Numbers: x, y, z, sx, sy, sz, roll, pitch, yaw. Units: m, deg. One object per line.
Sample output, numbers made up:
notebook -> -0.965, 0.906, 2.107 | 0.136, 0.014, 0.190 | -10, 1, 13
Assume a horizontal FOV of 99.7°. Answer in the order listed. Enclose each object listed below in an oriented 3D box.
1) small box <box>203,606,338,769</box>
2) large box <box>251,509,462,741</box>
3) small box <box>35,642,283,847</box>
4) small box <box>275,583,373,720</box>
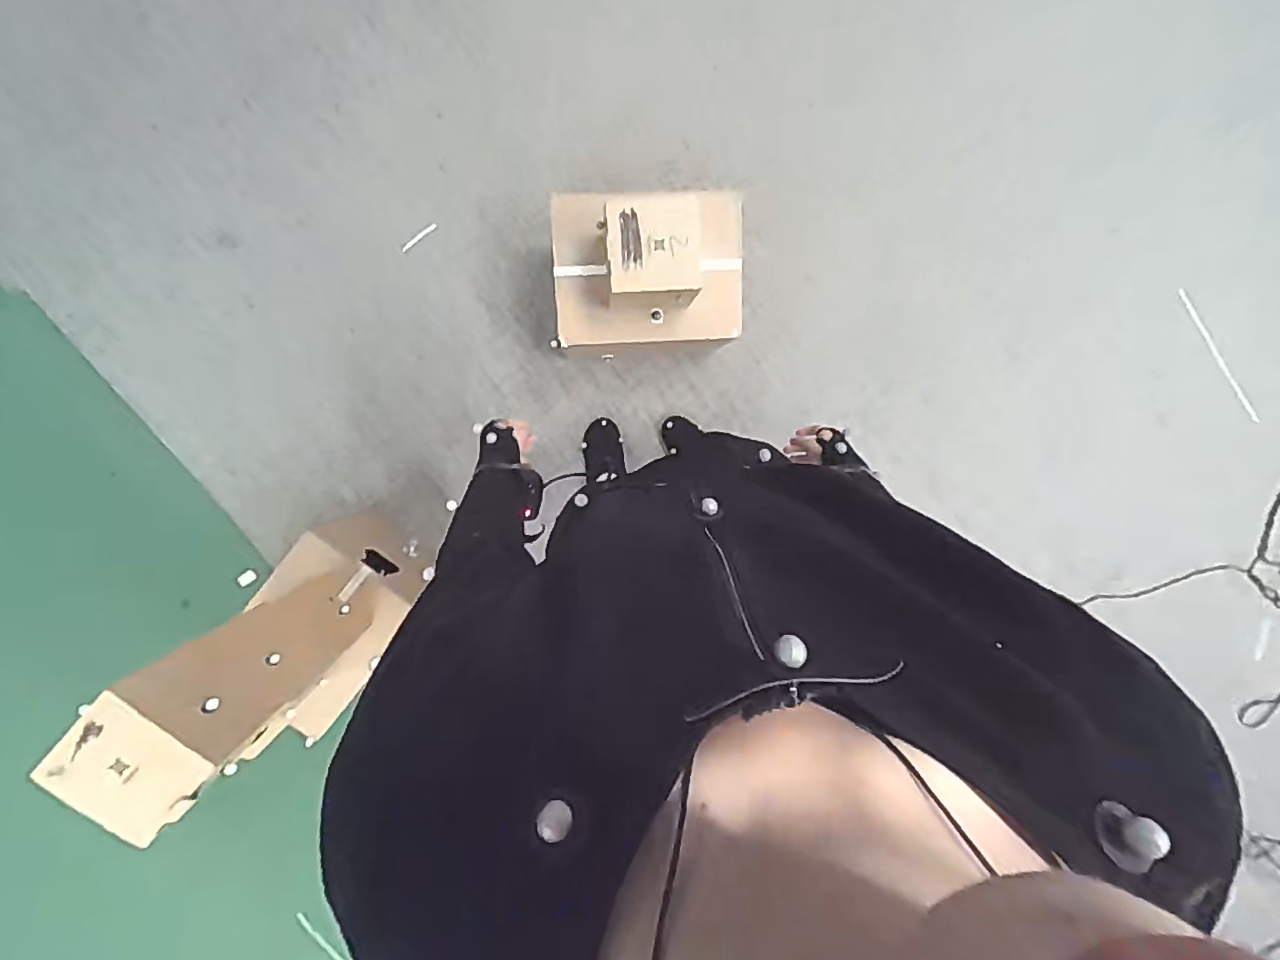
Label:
small box -> -0.686, 0.354, 0.959 | 0.179, 0.176, 0.168 | 44, 93, -7
large box -> -0.726, 0.339, 1.367 | 0.320, 0.320, 0.408 | 39, 95, -5
small box -> -0.682, 0.374, 0.796 | 0.179, 0.176, 0.168 | 43, 93, -8
small box -> -0.698, 0.346, 1.122 | 0.168, 0.176, 0.179 | 42, 93, -8
